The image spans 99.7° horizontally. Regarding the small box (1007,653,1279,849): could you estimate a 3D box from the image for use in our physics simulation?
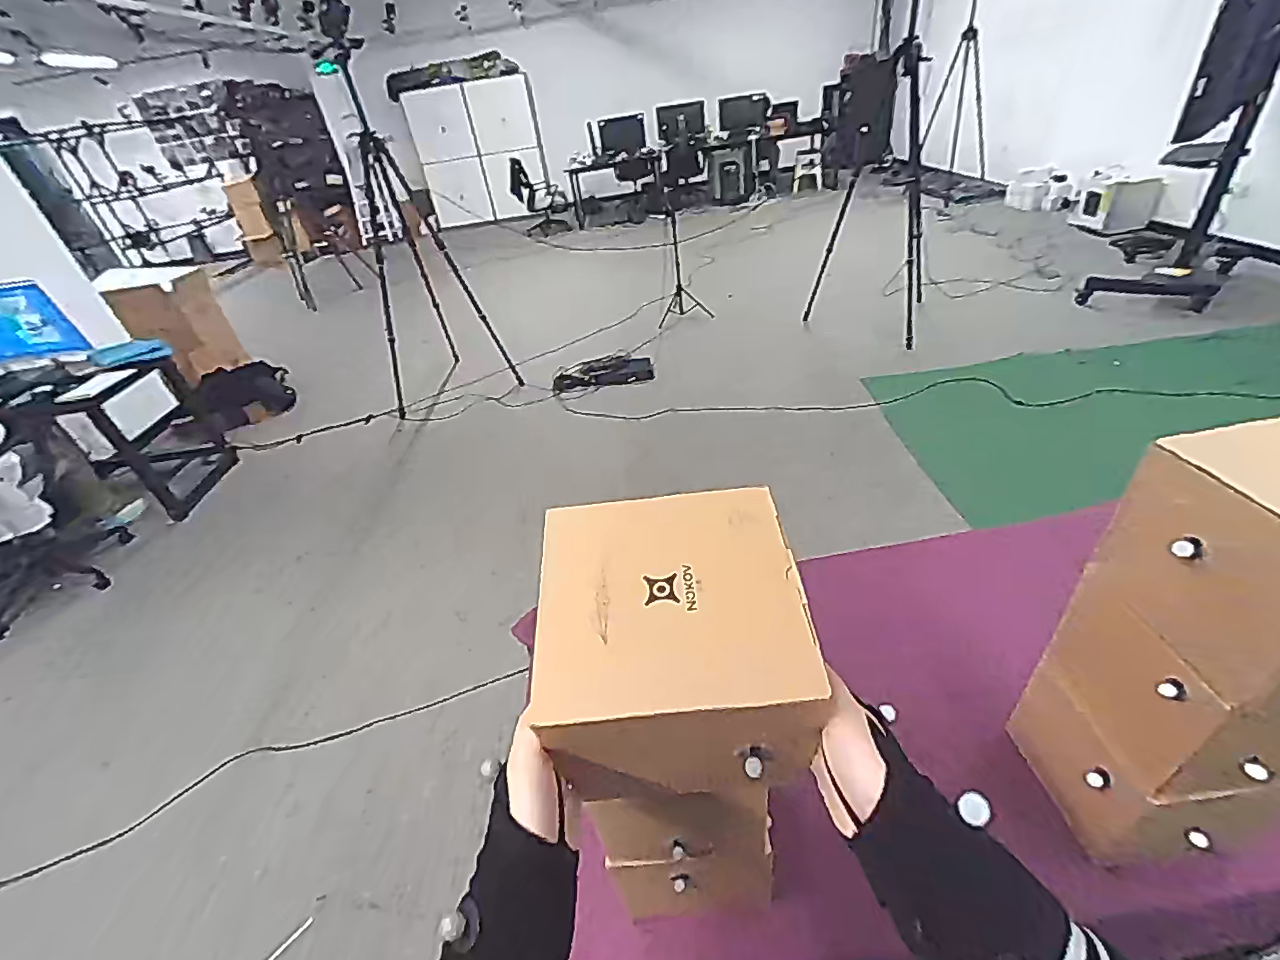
[{"bbox_3d":[0.599,0.324,0.664,0.168,0.176,0.179,-9,36,0],"label":"small box"}]

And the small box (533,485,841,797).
[{"bbox_3d":[0.030,0.126,0.412,0.179,0.176,0.168,-7,47,2],"label":"small box"}]

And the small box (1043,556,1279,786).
[{"bbox_3d":[0.581,0.189,0.573,0.168,0.176,0.179,-9,38,1],"label":"small box"}]

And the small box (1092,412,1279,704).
[{"bbox_3d":[0.559,0.061,0.473,0.168,0.176,0.179,-12,36,-2],"label":"small box"}]

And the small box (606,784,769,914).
[{"bbox_3d":[0.058,0.411,0.673,0.179,0.176,0.168,-7,36,2],"label":"small box"}]
